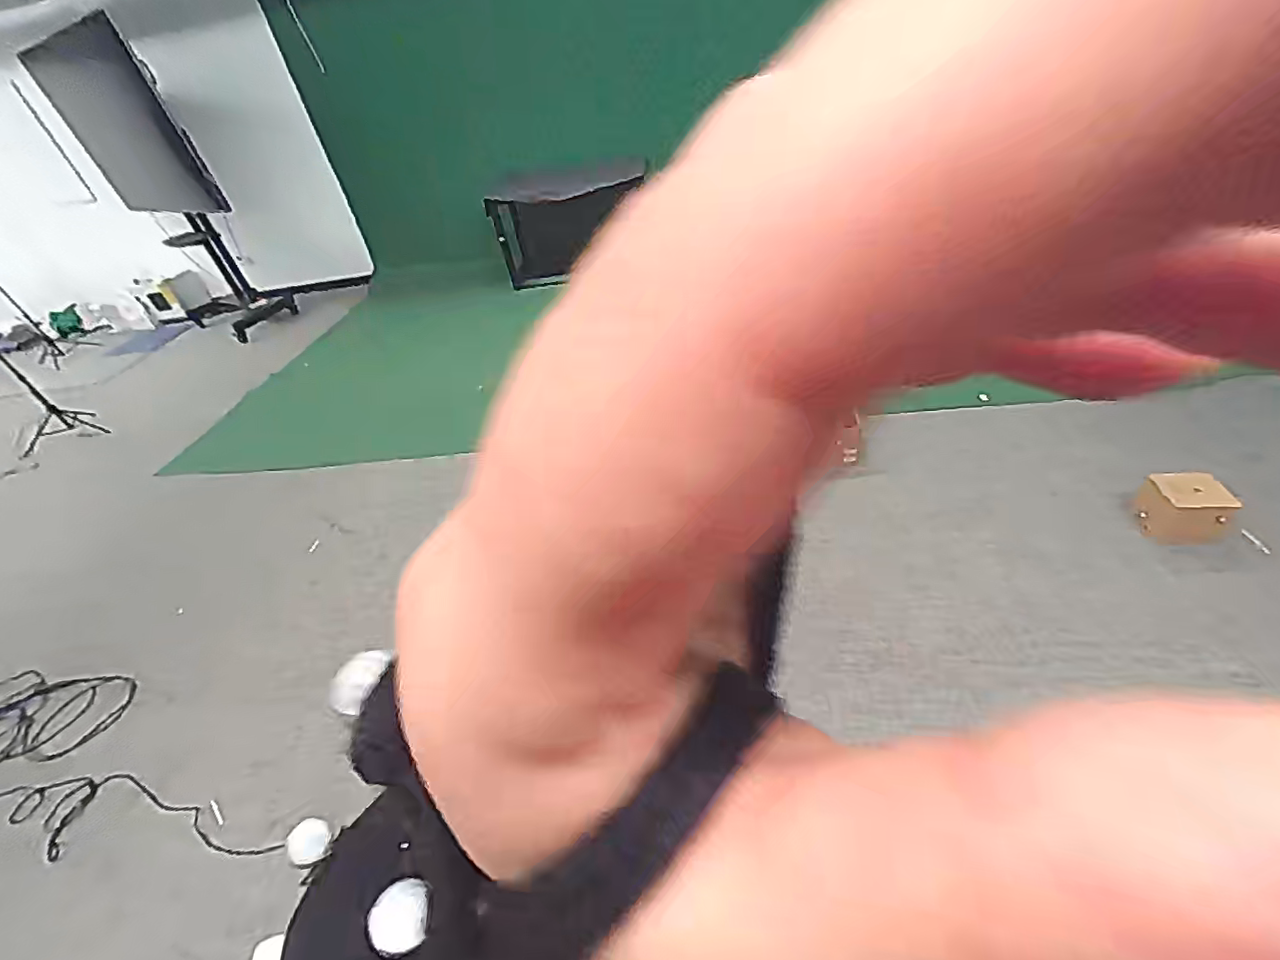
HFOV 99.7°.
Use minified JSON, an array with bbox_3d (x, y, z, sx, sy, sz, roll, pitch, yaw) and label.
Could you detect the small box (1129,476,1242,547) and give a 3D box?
[{"bbox_3d":[1.757,0.103,1.754,0.179,0.176,0.168,-1,39,12],"label":"small box"}]
